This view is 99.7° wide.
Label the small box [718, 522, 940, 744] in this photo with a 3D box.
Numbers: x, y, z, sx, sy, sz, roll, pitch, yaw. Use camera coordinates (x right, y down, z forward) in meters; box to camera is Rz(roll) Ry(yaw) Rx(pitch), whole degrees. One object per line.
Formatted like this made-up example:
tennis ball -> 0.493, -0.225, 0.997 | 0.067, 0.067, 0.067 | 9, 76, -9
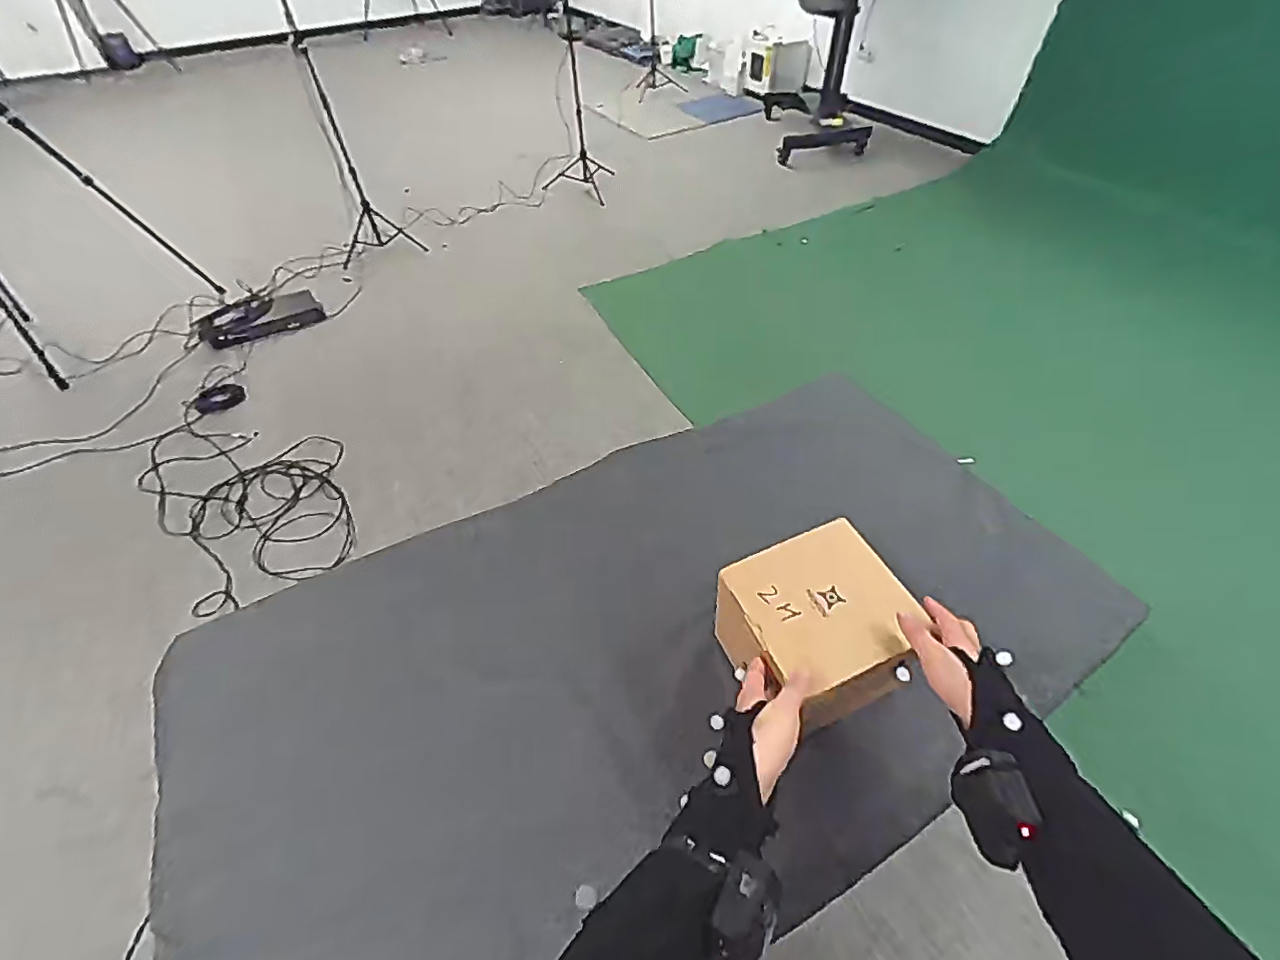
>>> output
small box -> 0.205, 0.184, 0.644 | 0.179, 0.176, 0.168 | -20, 51, -10
